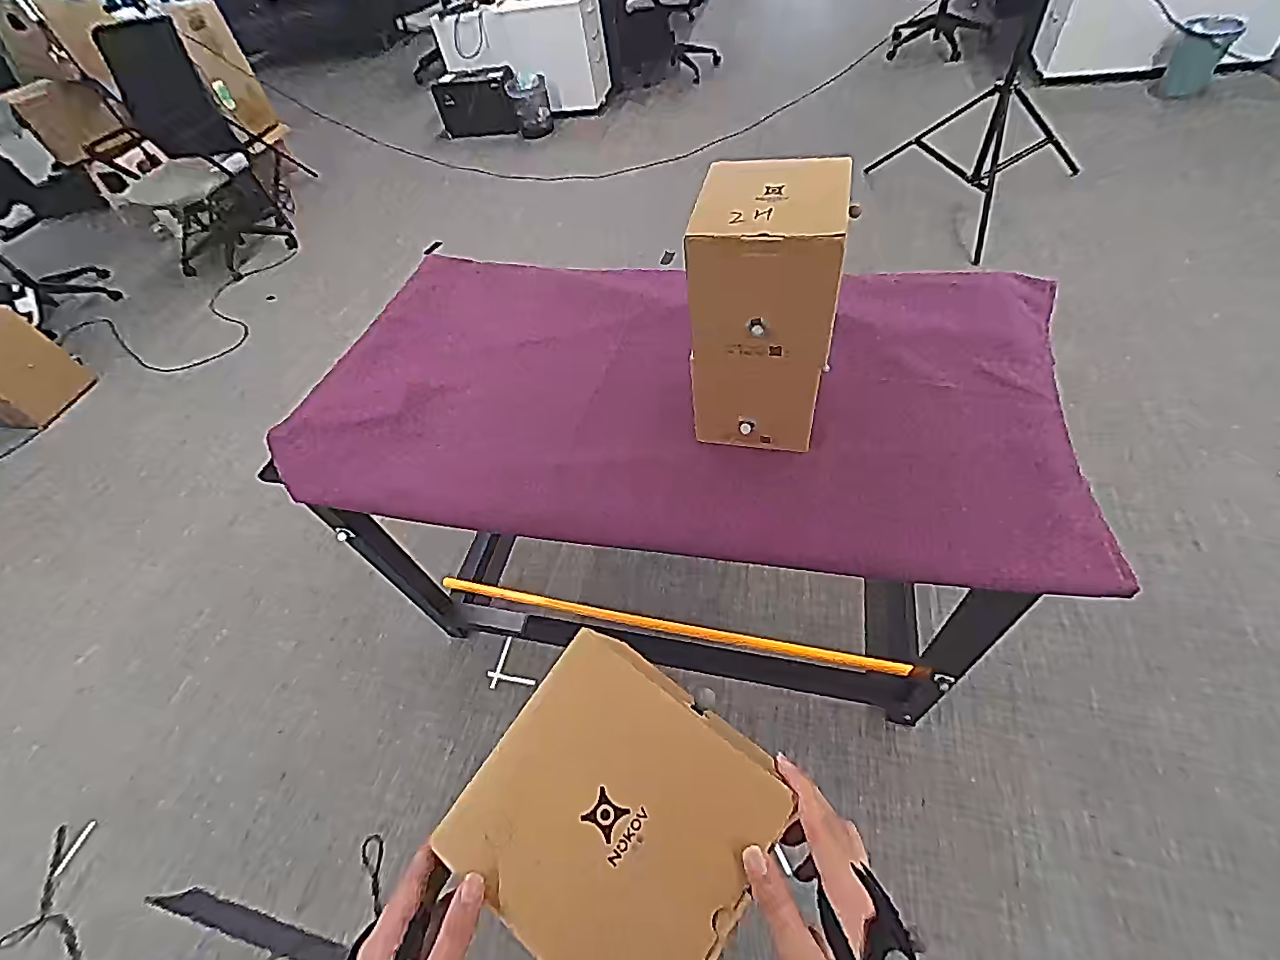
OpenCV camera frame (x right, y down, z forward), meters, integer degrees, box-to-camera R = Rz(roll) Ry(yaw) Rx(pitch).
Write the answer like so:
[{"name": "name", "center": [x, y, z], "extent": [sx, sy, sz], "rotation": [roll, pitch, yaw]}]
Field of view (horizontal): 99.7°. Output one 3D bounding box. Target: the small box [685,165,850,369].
[{"name": "small box", "center": [0.157, -0.263, 0.669], "extent": [0.168, 0.176, 0.179], "rotation": [7, 54, 16]}]

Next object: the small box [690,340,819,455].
[{"name": "small box", "center": [0.174, -0.162, 0.799], "extent": [0.168, 0.176, 0.179], "rotation": [7, 54, 15]}]
